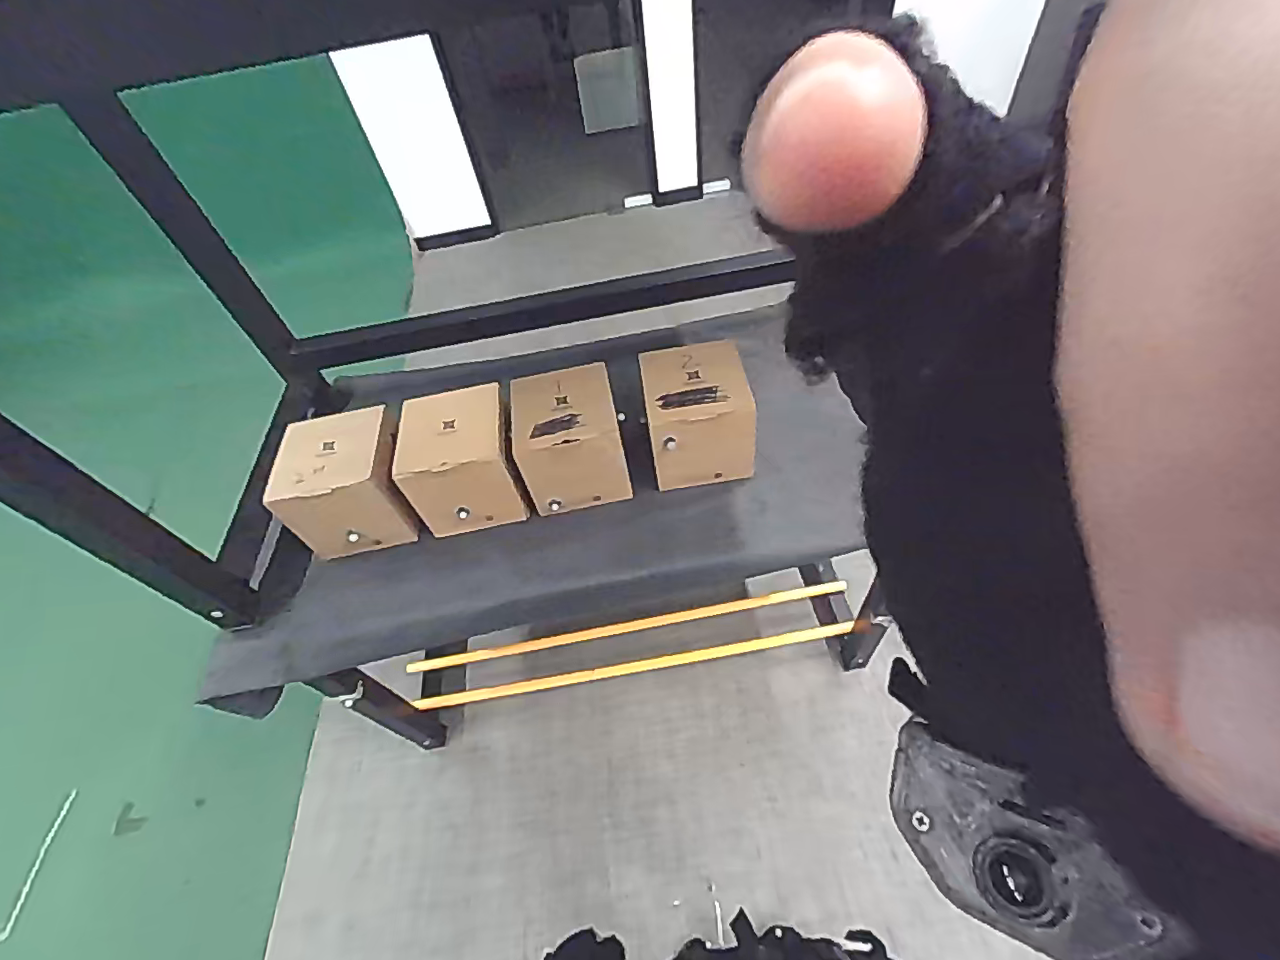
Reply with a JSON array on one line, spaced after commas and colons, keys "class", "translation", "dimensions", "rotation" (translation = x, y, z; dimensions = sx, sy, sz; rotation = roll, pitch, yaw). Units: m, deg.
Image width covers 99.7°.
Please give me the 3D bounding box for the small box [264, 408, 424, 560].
[{"class": "small box", "translation": [-0.484, 0.009, 0.919], "dimensions": [0.168, 0.176, 0.179], "rotation": [-12, 50, -1]}]
